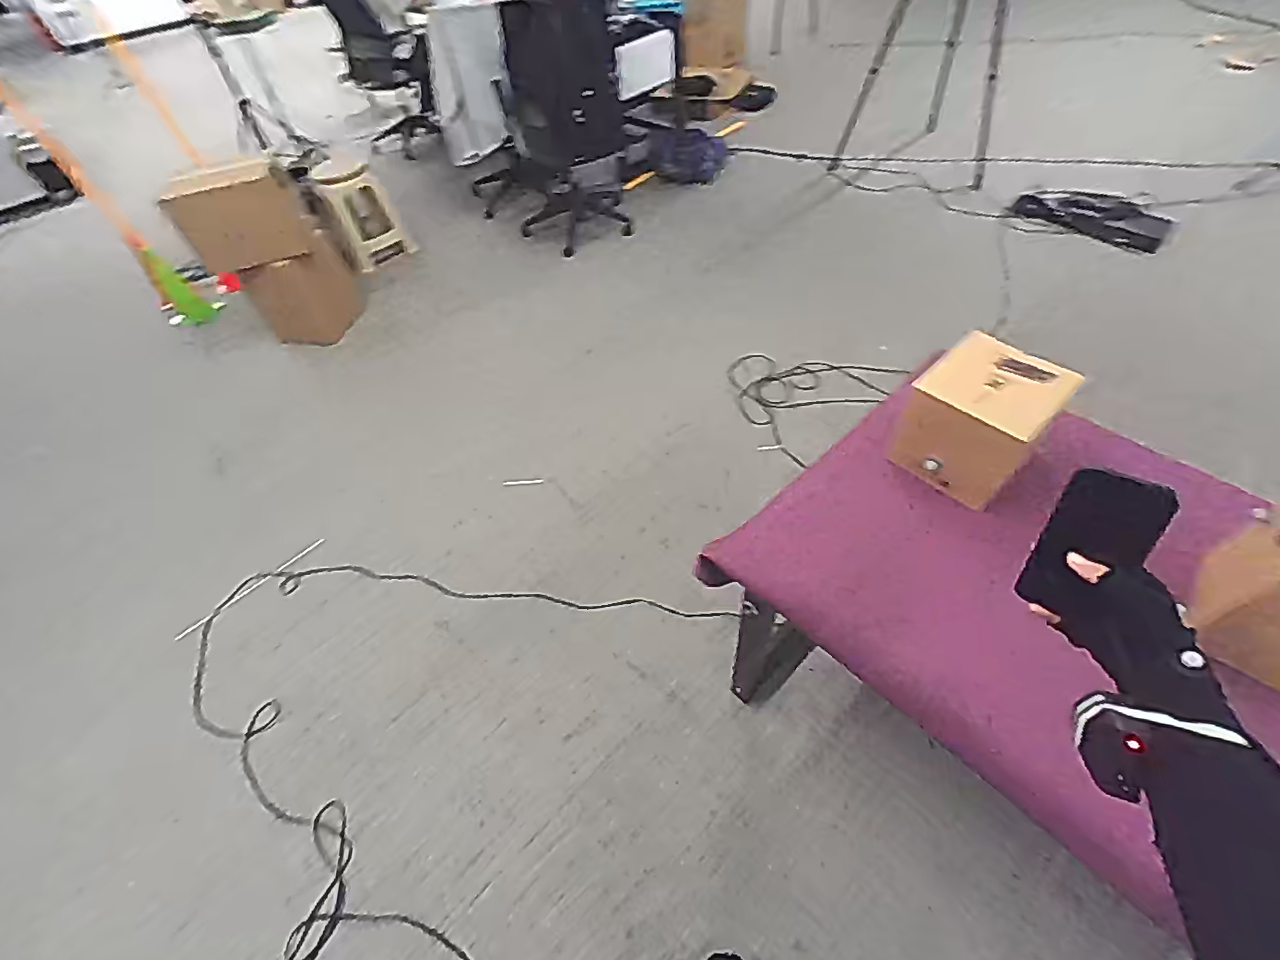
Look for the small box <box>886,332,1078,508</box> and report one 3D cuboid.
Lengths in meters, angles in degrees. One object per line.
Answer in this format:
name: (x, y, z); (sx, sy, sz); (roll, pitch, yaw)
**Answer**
small box: (0.517, -0.093, 0.844); (0.179, 0.176, 0.168); (-38, 57, -20)
